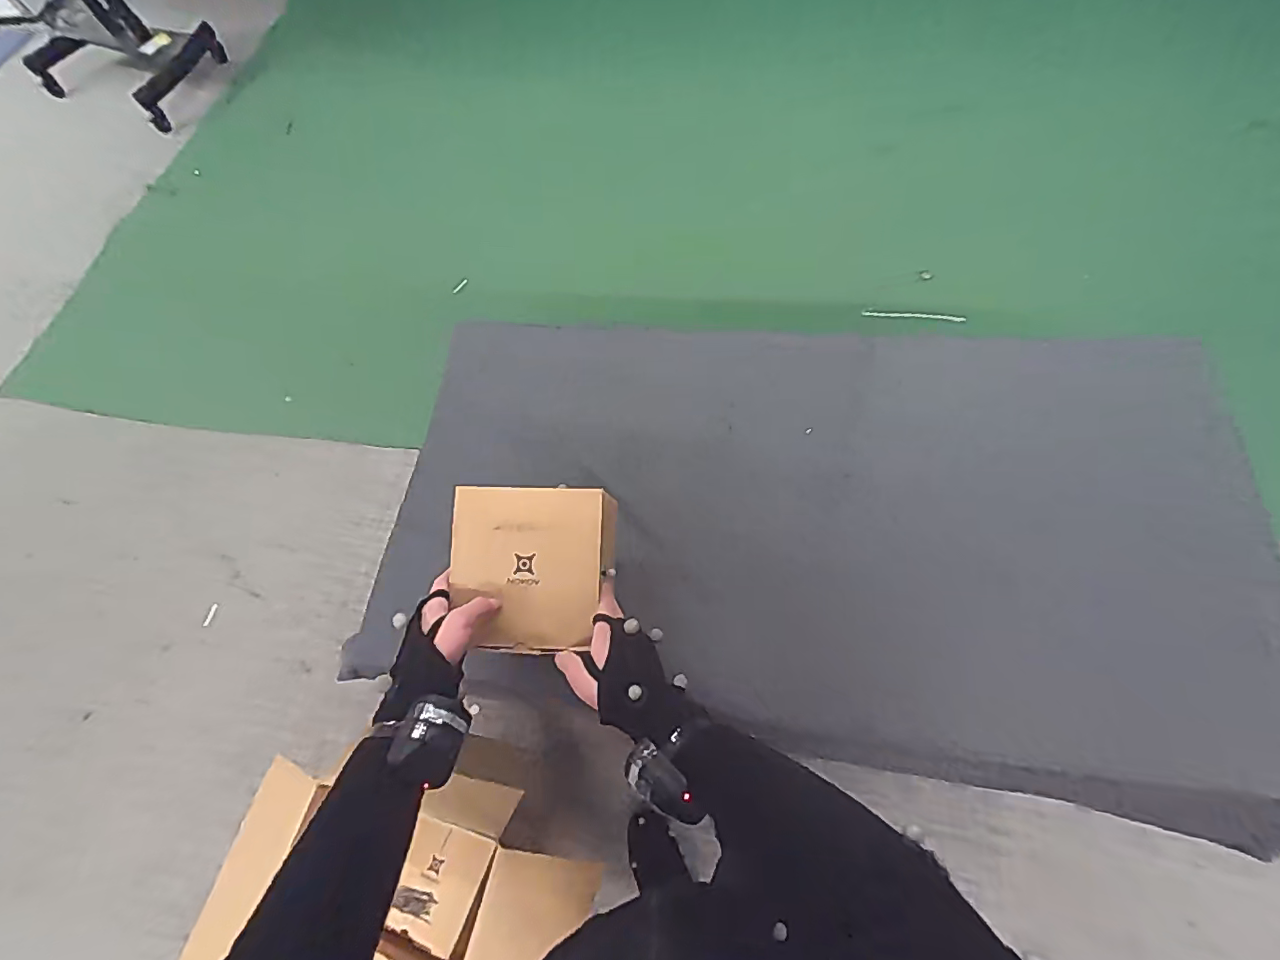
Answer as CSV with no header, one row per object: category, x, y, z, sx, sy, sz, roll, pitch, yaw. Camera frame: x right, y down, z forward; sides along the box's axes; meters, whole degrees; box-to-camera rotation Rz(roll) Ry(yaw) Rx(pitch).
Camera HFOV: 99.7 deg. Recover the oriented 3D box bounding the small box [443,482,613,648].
small box,-0.124,0.099,0.664,0.168,0.176,0.179,1,82,3
